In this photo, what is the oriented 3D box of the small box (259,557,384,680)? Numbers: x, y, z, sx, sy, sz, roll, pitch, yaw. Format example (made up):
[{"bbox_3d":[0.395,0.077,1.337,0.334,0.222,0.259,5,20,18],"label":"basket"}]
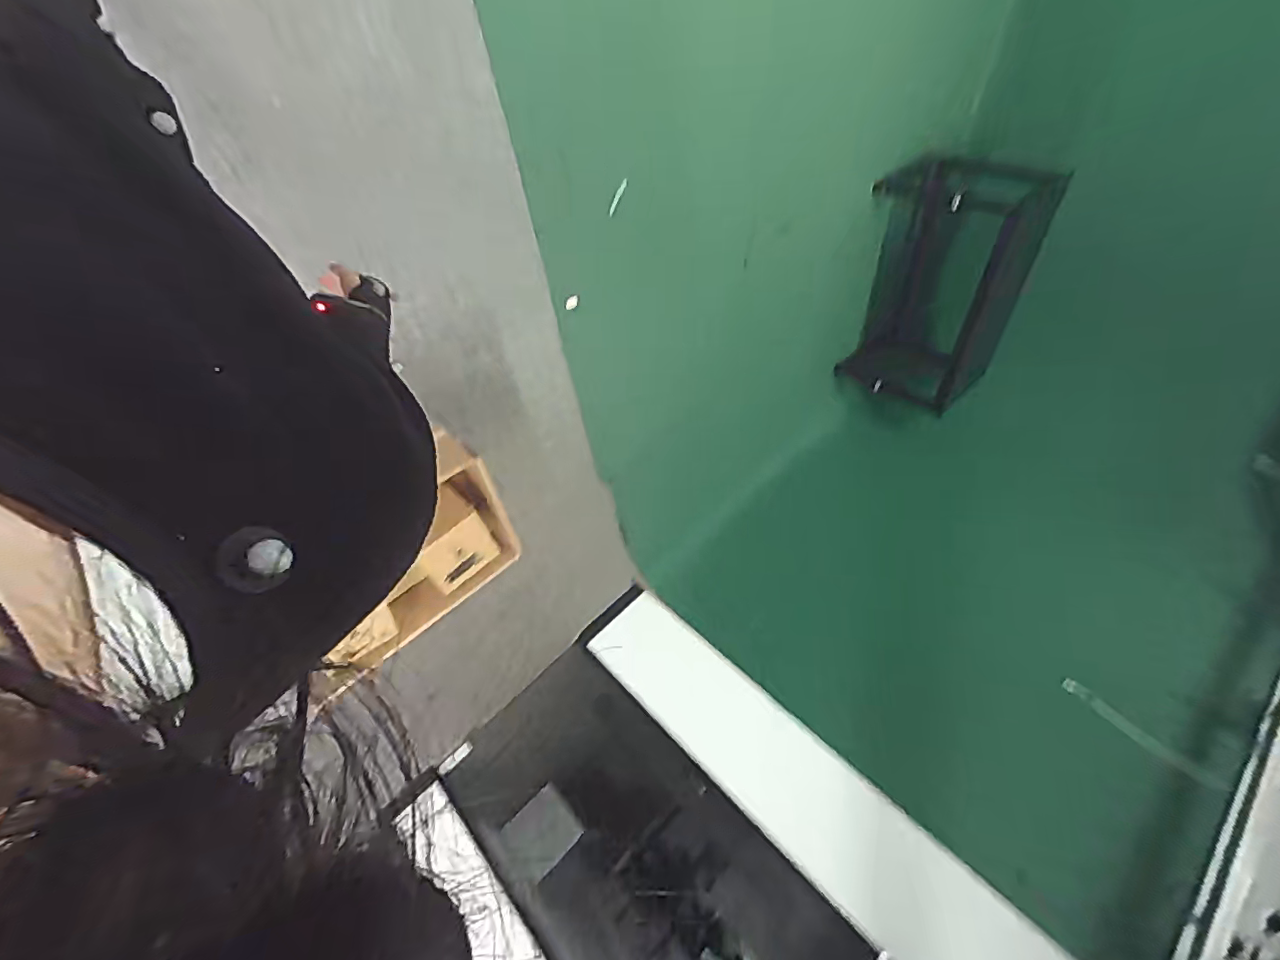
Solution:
[{"bbox_3d":[-0.708,0.296,1.203,0.168,0.176,0.179,-31,140,-34],"label":"small box"}]
